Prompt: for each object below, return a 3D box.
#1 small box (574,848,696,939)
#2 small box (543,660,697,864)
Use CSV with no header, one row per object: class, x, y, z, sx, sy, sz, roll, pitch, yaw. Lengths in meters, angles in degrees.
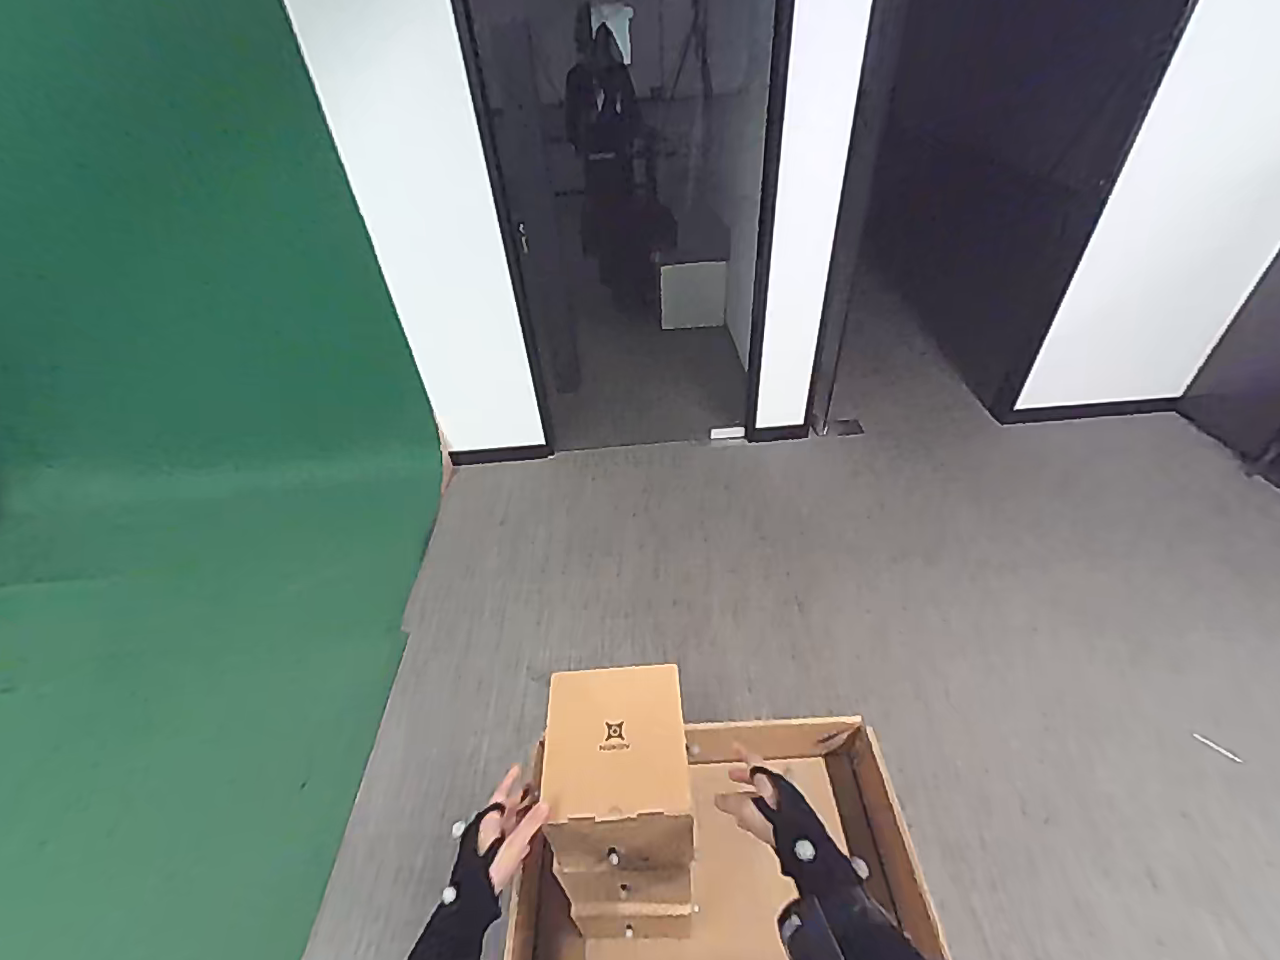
small box,-0.003,0.619,0.875,0.179,0.176,0.168,-3,40,3
small box,-0.021,0.354,0.684,0.168,0.176,0.179,-5,41,0
